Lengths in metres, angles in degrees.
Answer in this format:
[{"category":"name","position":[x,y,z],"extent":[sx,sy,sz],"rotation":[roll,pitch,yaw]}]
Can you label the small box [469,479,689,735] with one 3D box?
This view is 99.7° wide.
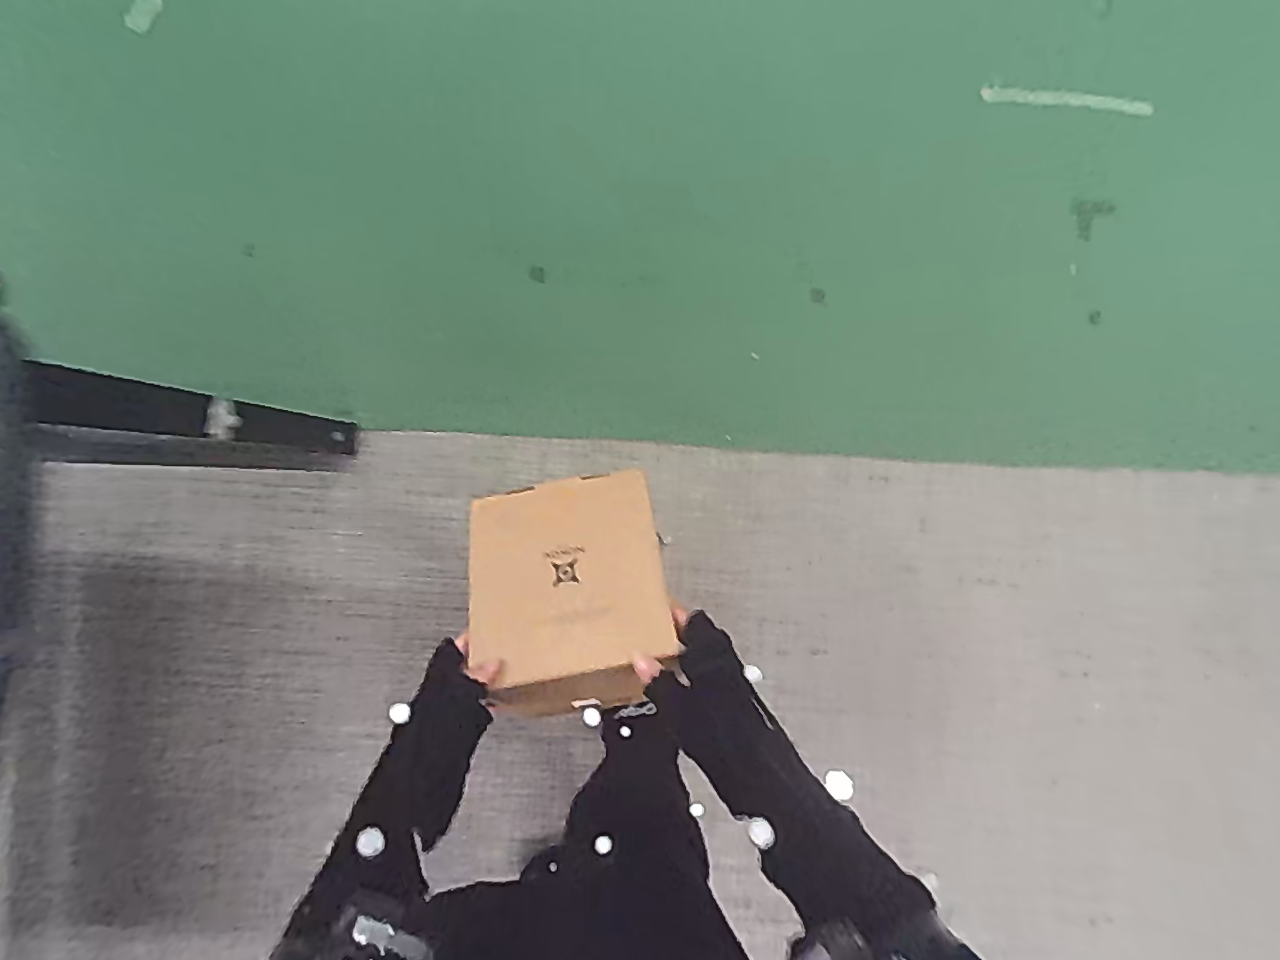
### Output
[{"category":"small box","position":[-0.051,0.126,0.511],"extent":[0.168,0.176,0.179],"rotation":[-11,59,1]}]
